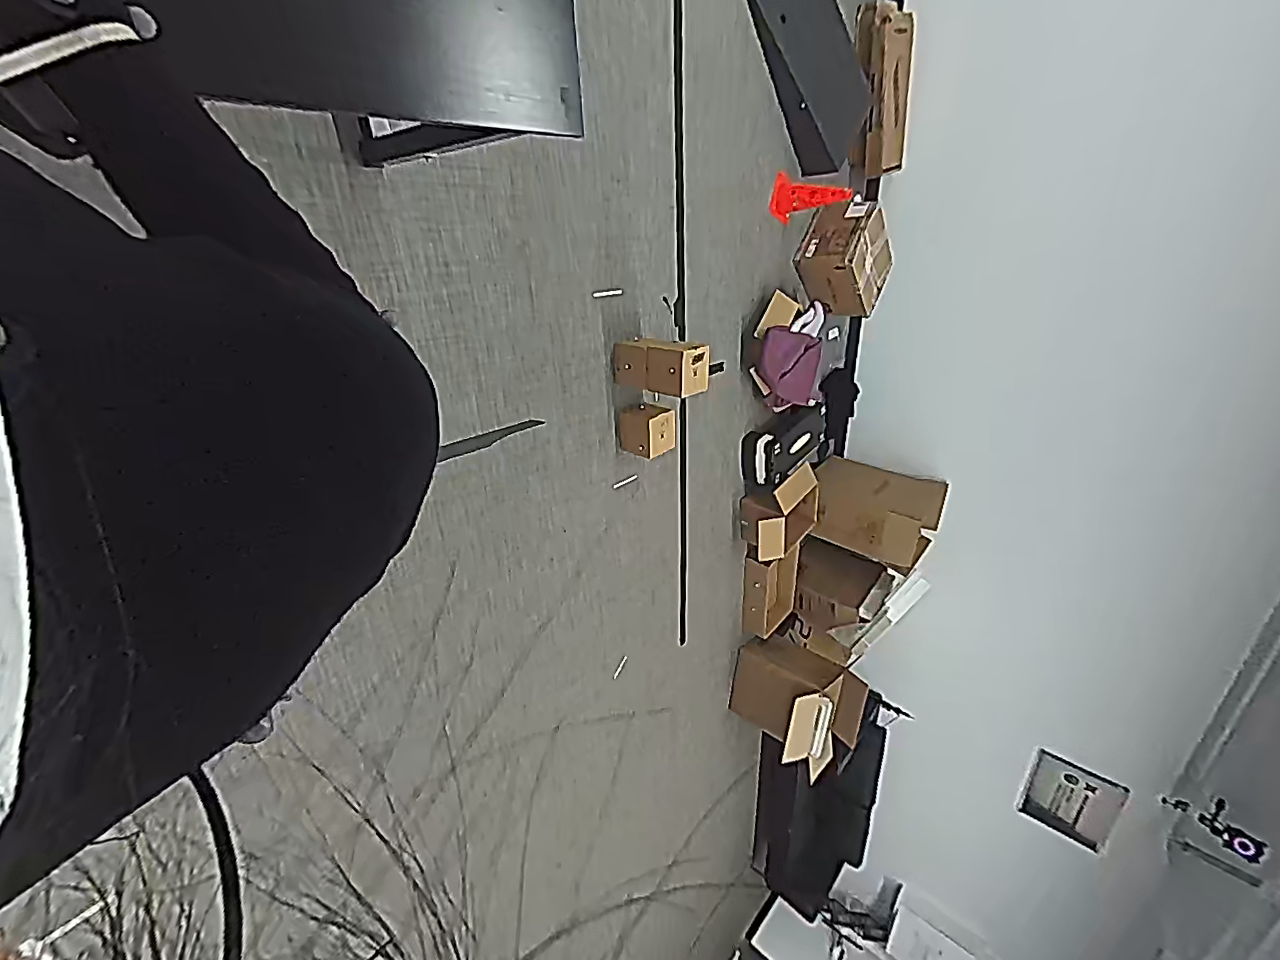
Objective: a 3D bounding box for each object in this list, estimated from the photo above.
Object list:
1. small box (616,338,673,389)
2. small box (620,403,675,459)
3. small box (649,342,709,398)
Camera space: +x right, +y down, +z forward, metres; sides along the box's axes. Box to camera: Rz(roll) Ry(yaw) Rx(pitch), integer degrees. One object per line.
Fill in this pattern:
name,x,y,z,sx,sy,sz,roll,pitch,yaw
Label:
small box,0.017,-0.467,2.150,0.179,0.176,0.168,-24,122,-42
small box,0.032,-0.210,2.278,0.168,0.176,0.179,-27,125,-41
small box,0.145,-0.424,2.053,0.168,0.176,0.179,-25,124,-43
